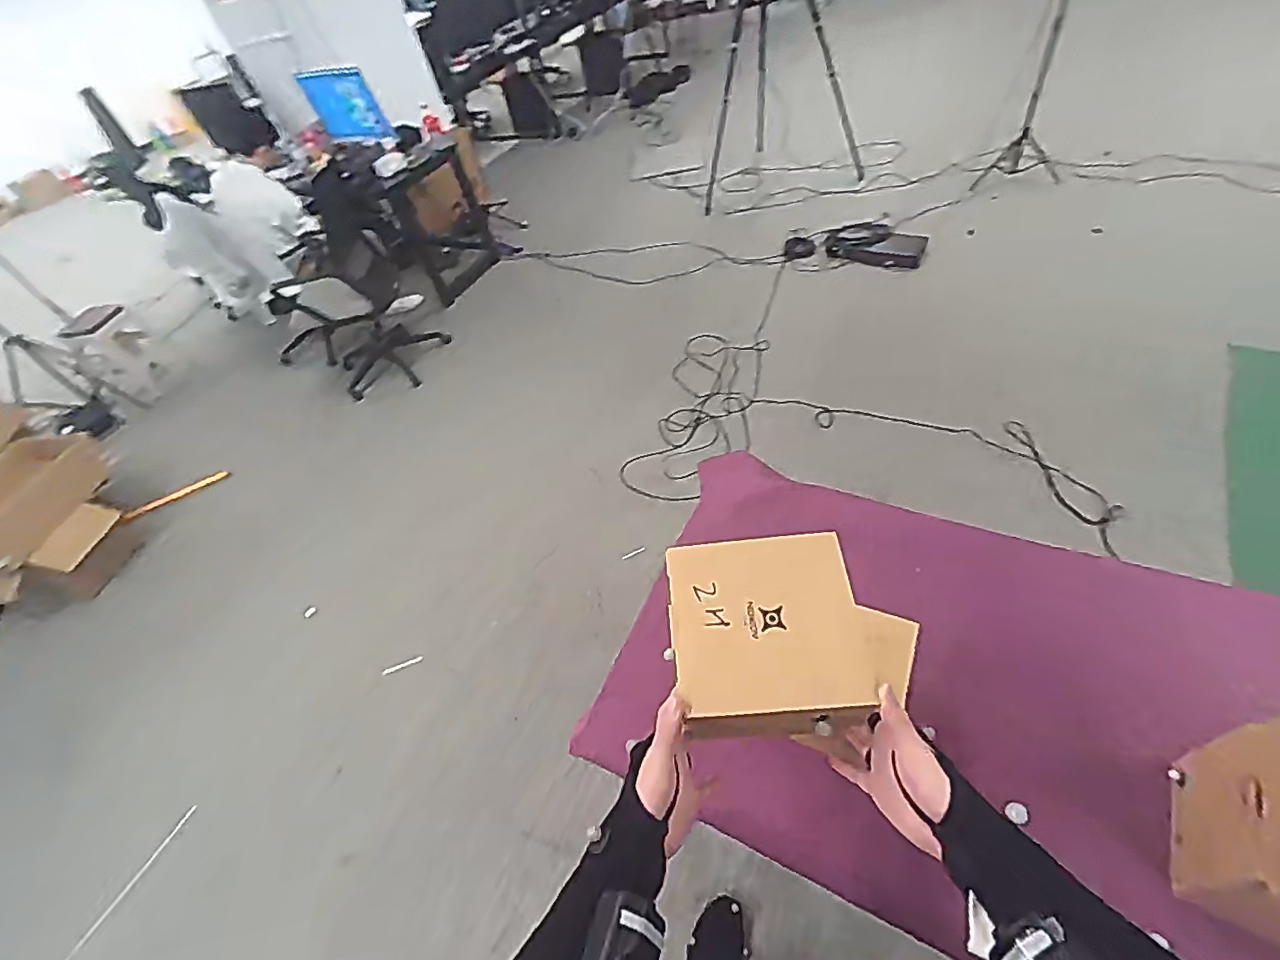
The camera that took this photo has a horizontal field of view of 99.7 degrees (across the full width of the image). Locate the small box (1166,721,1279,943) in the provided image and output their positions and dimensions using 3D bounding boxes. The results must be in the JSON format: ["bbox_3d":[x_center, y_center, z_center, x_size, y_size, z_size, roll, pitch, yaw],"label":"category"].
[{"bbox_3d":[0.721,0.401,0.585,0.179,0.176,0.168,19,57,26],"label":"small box"}]

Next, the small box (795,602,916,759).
[{"bbox_3d":[0.283,0.285,0.795,0.179,0.176,0.168,14,56,25],"label":"small box"}]

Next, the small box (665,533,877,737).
[{"bbox_3d":[0.123,0.171,0.576,0.179,0.176,0.168,-6,57,5],"label":"small box"}]
